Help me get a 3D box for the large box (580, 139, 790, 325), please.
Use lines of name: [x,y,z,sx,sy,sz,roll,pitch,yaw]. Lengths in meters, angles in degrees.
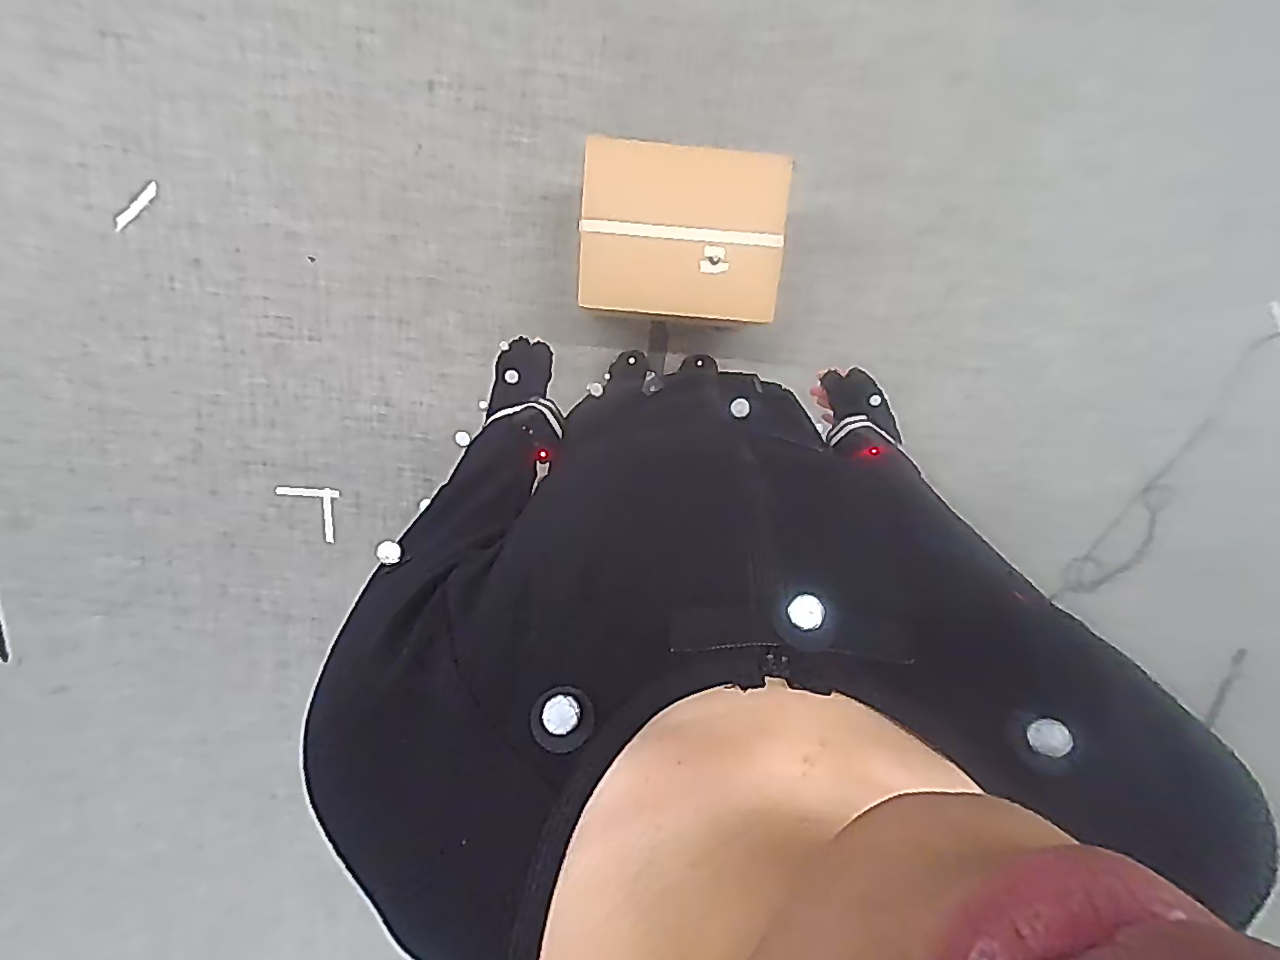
large box: [0.078,-0.525,1.215,0.408,0.320,0.320,4,104,-3]
